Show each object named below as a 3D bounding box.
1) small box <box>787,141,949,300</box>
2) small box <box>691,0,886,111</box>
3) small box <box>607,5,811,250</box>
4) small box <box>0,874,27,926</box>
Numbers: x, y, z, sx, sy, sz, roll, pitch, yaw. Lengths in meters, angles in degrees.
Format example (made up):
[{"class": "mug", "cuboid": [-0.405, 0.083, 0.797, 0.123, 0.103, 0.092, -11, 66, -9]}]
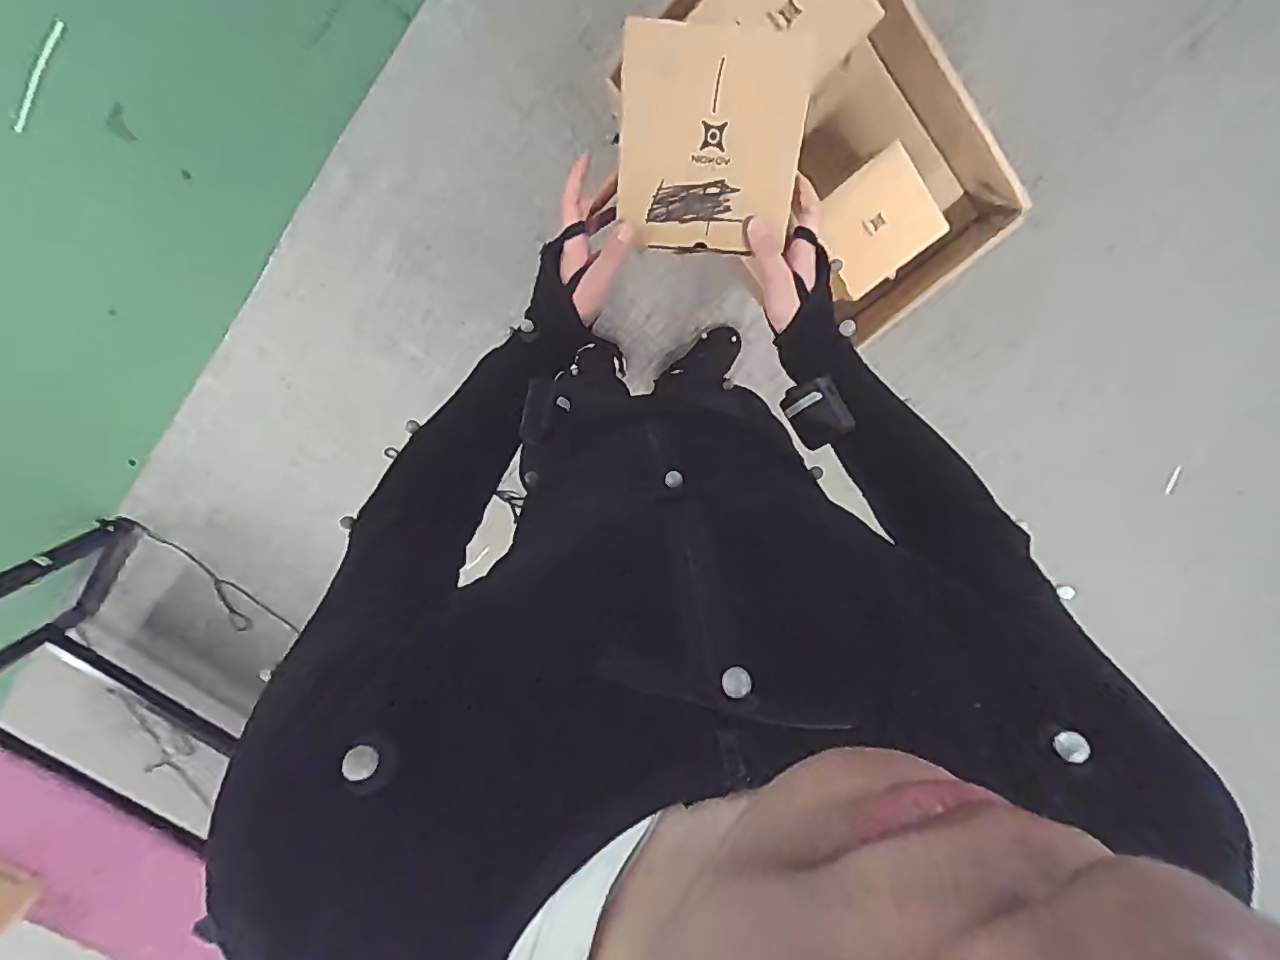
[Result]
[{"class": "small box", "cuboid": [0.381, -0.439, 0.935, 0.179, 0.176, 0.168, -37, 106, 17]}, {"class": "small box", "cuboid": [0.177, -0.580, 0.713, 0.179, 0.176, 0.168, -41, 104, 17]}, {"class": "small box", "cuboid": [0.053, -0.338, 0.549, 0.168, 0.176, 0.179, 2, 116, -4]}, {"class": "small box", "cuboid": [-1.704, 1.097, 1.338, 0.168, 0.176, 0.179, 41, 108, -13]}]
